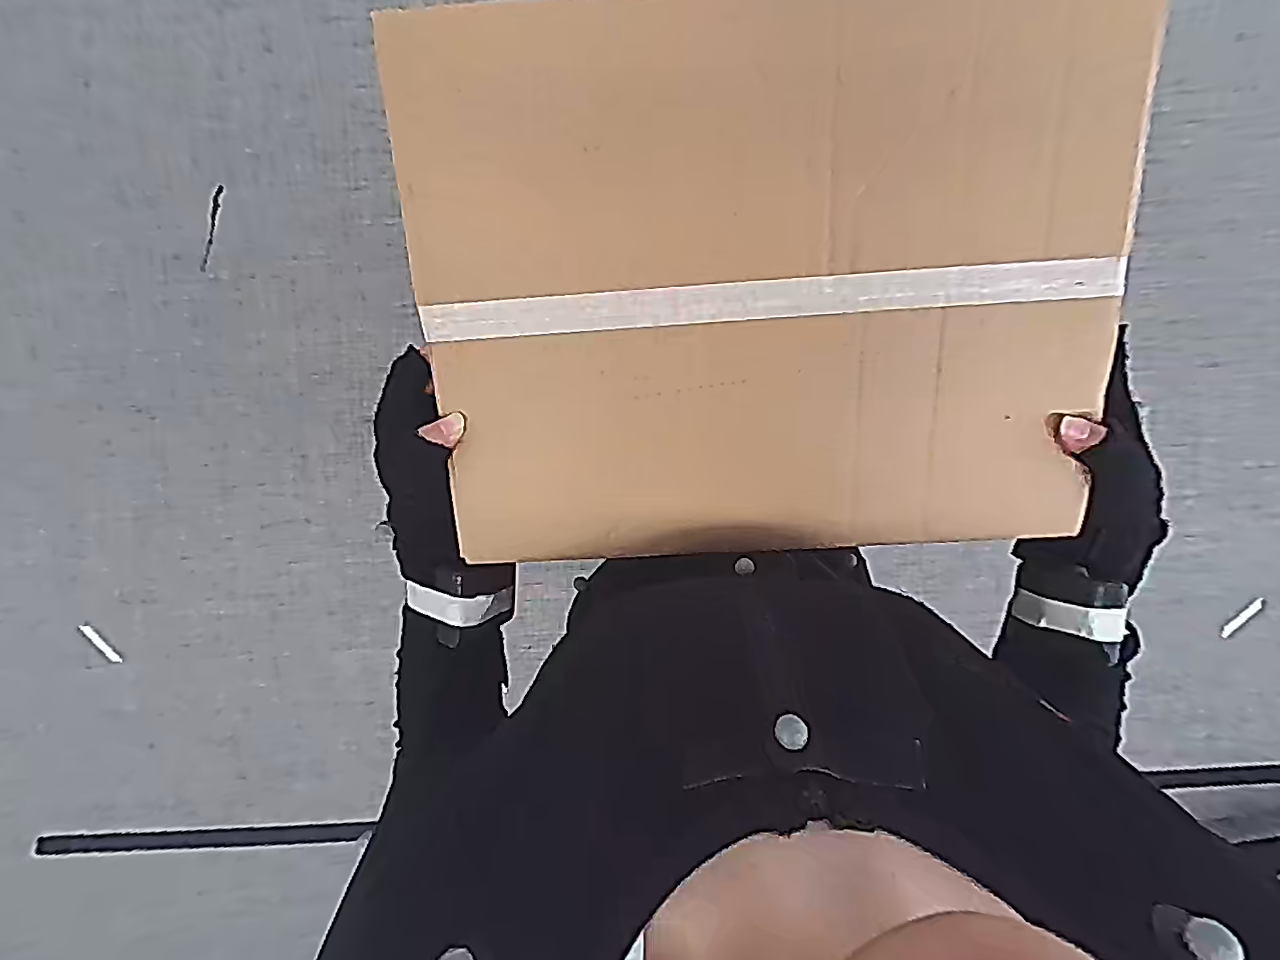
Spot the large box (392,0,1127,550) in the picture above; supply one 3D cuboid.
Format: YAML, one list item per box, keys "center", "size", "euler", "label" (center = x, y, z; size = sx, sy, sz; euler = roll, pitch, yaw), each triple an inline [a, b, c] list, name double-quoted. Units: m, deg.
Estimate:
- center: [0.071, -0.150, 0.471]
  size: [0.408, 0.320, 0.320]
  euler: [-3, 106, 2]
  label: "large box"
